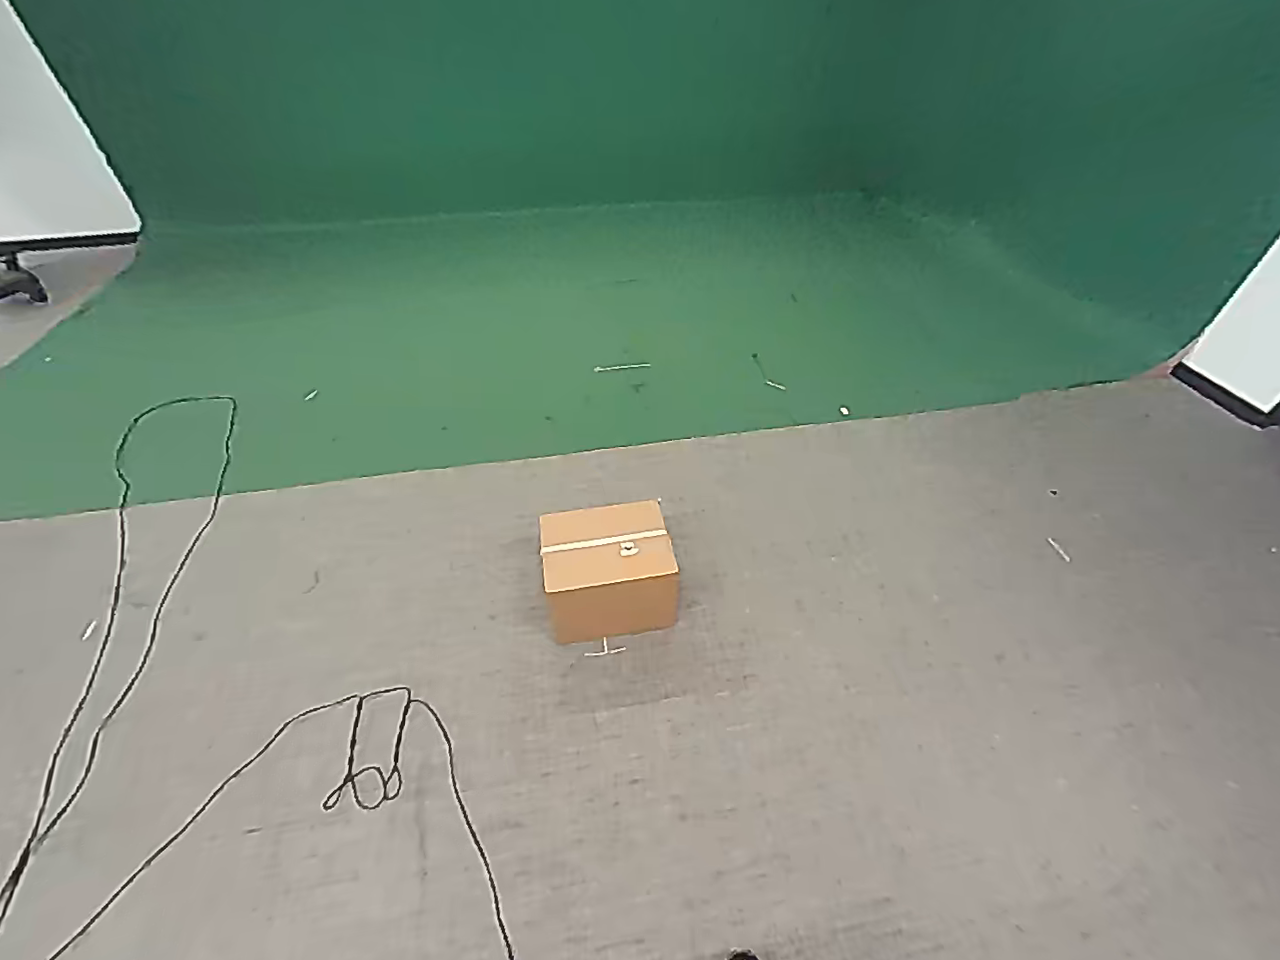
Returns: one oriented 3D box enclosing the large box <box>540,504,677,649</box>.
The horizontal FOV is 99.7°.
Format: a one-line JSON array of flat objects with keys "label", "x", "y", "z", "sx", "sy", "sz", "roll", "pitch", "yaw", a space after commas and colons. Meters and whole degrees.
[{"label": "large box", "x": -0.110, "y": 0.324, "z": 1.826, "sx": 0.408, "sy": 0.320, "sz": 0.320, "roll": -8, "pitch": 45, "yaw": -9}]
